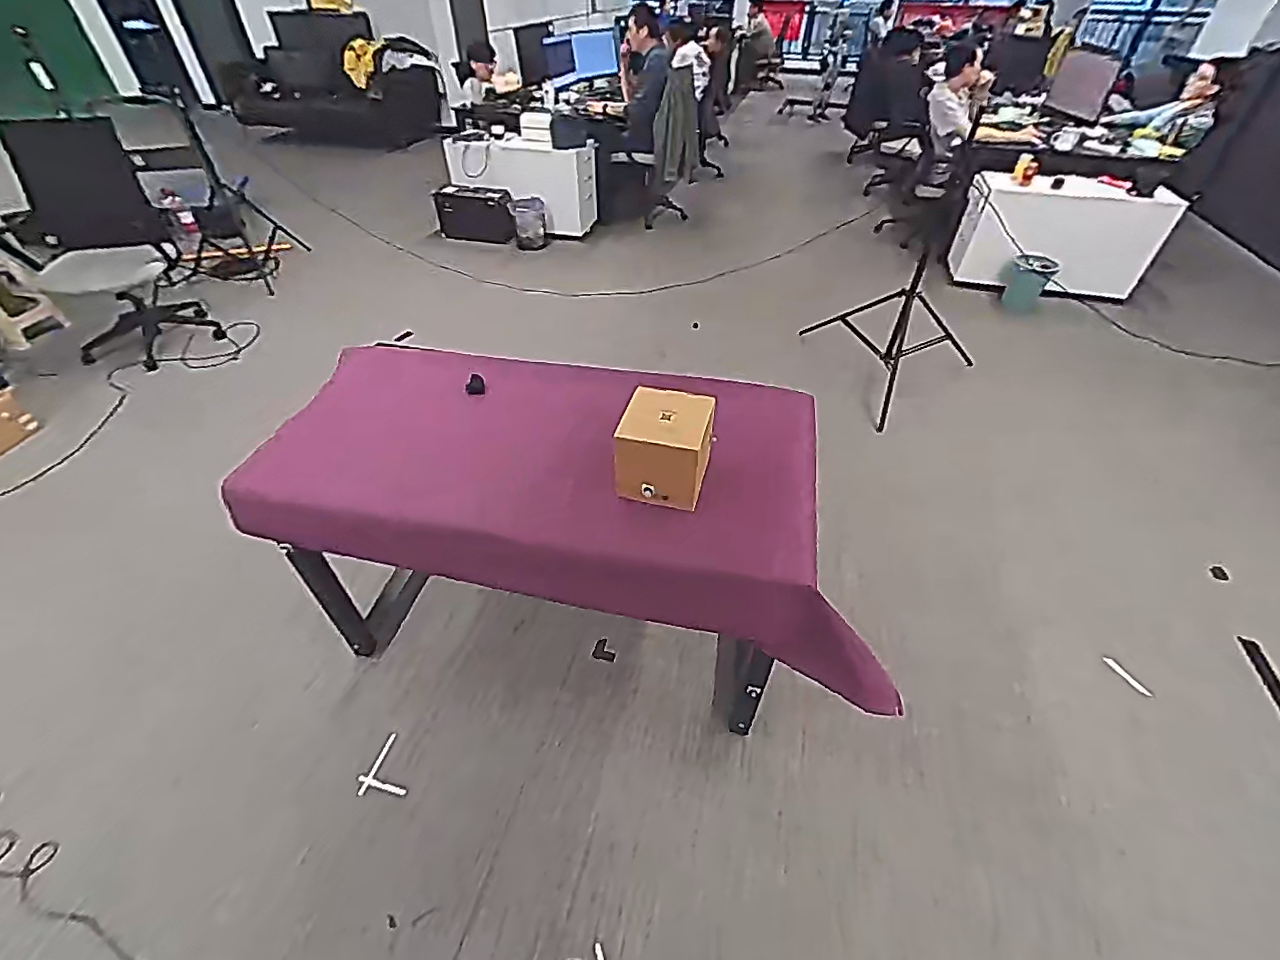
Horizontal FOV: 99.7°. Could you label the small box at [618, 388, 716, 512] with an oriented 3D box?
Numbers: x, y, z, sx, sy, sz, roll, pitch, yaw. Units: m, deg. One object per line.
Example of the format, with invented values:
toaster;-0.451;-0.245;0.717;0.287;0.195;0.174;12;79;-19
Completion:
small box;0.056;-0.062;1.111;0.168;0.176;0.179;10;44;11
